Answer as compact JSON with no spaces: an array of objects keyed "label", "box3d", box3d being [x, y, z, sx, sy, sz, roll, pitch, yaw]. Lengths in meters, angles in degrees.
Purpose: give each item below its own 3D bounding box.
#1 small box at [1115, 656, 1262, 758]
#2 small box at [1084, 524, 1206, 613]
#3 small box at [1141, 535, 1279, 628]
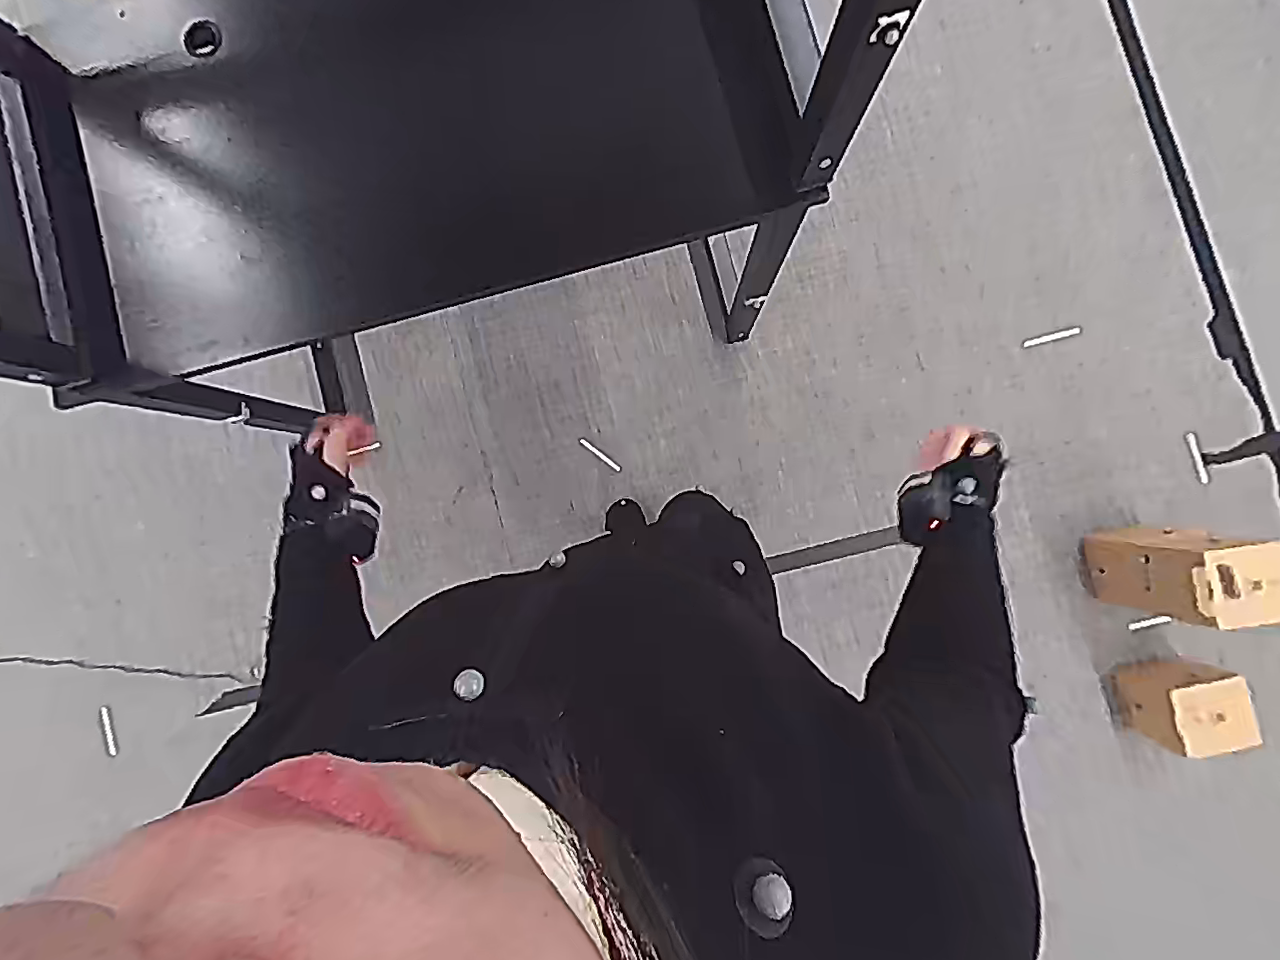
[{"label":"small box","box3d":[1.350,0.554,1.343,0.179,0.176,0.168,-13,88,2]},{"label":"small box","box3d":[1.271,0.215,1.355,0.168,0.176,0.179,-13,89,2]},{"label":"small box","box3d":[1.259,0.217,1.191,0.179,0.176,0.168,-9,88,2]}]
